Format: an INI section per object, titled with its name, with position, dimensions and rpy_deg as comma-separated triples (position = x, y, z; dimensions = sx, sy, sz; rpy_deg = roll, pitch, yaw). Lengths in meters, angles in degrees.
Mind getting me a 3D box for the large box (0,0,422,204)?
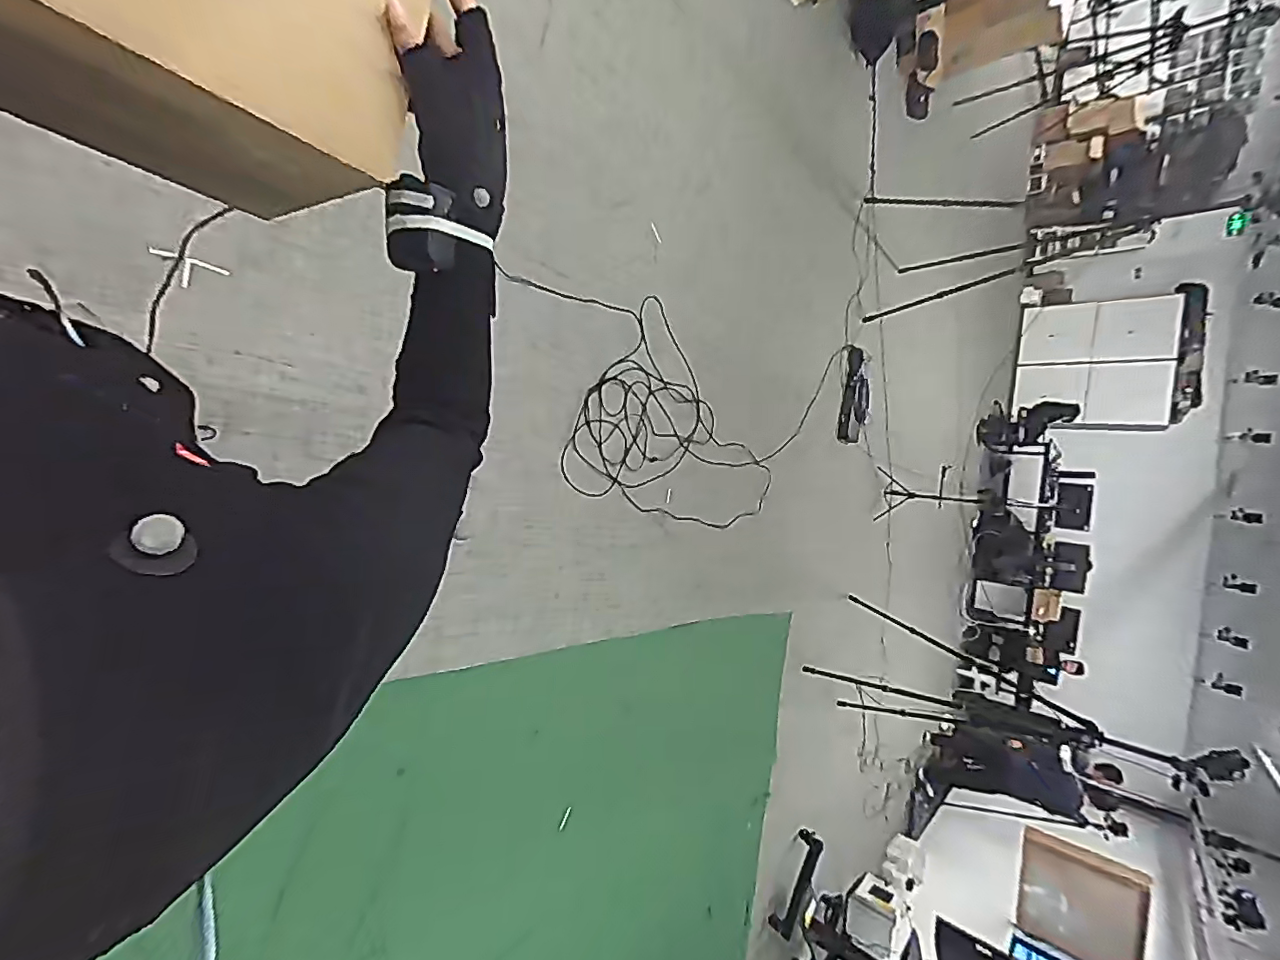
[large box]
position = -0.391, -0.434, 0.342
dimensions = 0.408, 0.320, 0.320
rpy_deg = 9, 97, -49
